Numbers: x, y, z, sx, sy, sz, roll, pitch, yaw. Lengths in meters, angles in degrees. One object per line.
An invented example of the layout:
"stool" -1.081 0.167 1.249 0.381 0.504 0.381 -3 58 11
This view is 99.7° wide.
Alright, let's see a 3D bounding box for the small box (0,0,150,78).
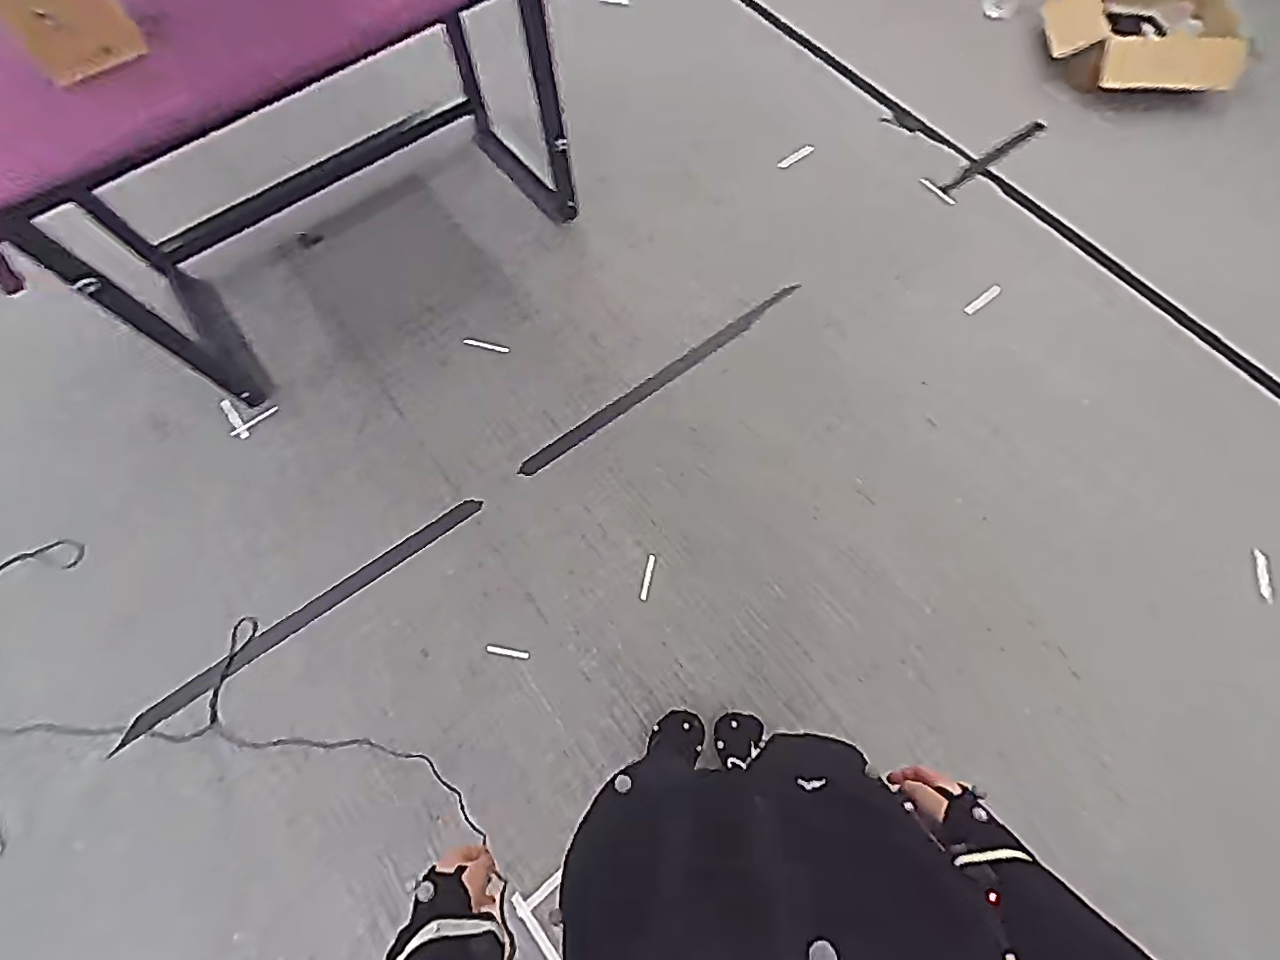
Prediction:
"small box" -1.038 -0.864 0.964 0.168 0.176 0.179 -35 73 -11
